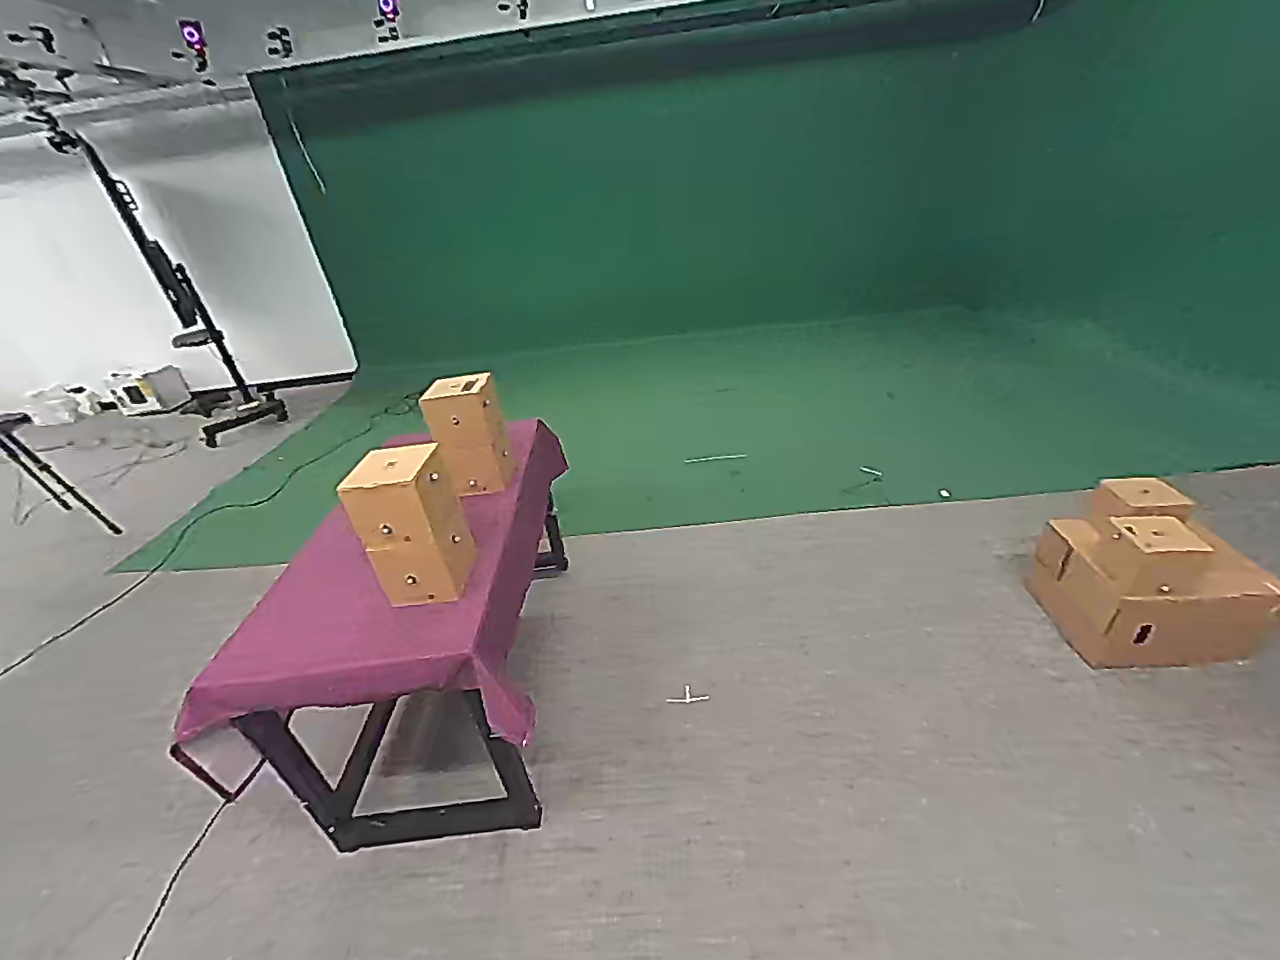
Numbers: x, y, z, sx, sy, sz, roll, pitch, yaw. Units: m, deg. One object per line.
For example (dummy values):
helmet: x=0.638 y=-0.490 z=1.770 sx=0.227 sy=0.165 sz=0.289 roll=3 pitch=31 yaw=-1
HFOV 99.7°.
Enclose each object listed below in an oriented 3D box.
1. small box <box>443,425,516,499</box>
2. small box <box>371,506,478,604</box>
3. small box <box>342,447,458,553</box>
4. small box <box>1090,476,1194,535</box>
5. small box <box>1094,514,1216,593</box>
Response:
small box: x=-0.506 y=-0.058 z=1.730 sx=0.168 sy=0.176 sz=0.179 roll=-7 pitch=31 yaw=4
small box: x=-0.510 y=0.186 z=1.309 sx=0.168 sy=0.176 sz=0.179 roll=-6 pitch=30 yaw=4
small box: x=-0.533 y=0.044 z=1.231 sx=0.168 sy=0.176 sz=0.179 roll=-7 pitch=31 yaw=4
small box: x=1.616 y=0.101 z=1.759 sx=0.179 sy=0.176 sz=0.168 roll=-3 pitch=30 yaw=6
small box: x=1.491 y=0.216 z=1.581 sx=0.179 sy=0.176 sz=0.168 roll=-2 pitch=31 yaw=8
